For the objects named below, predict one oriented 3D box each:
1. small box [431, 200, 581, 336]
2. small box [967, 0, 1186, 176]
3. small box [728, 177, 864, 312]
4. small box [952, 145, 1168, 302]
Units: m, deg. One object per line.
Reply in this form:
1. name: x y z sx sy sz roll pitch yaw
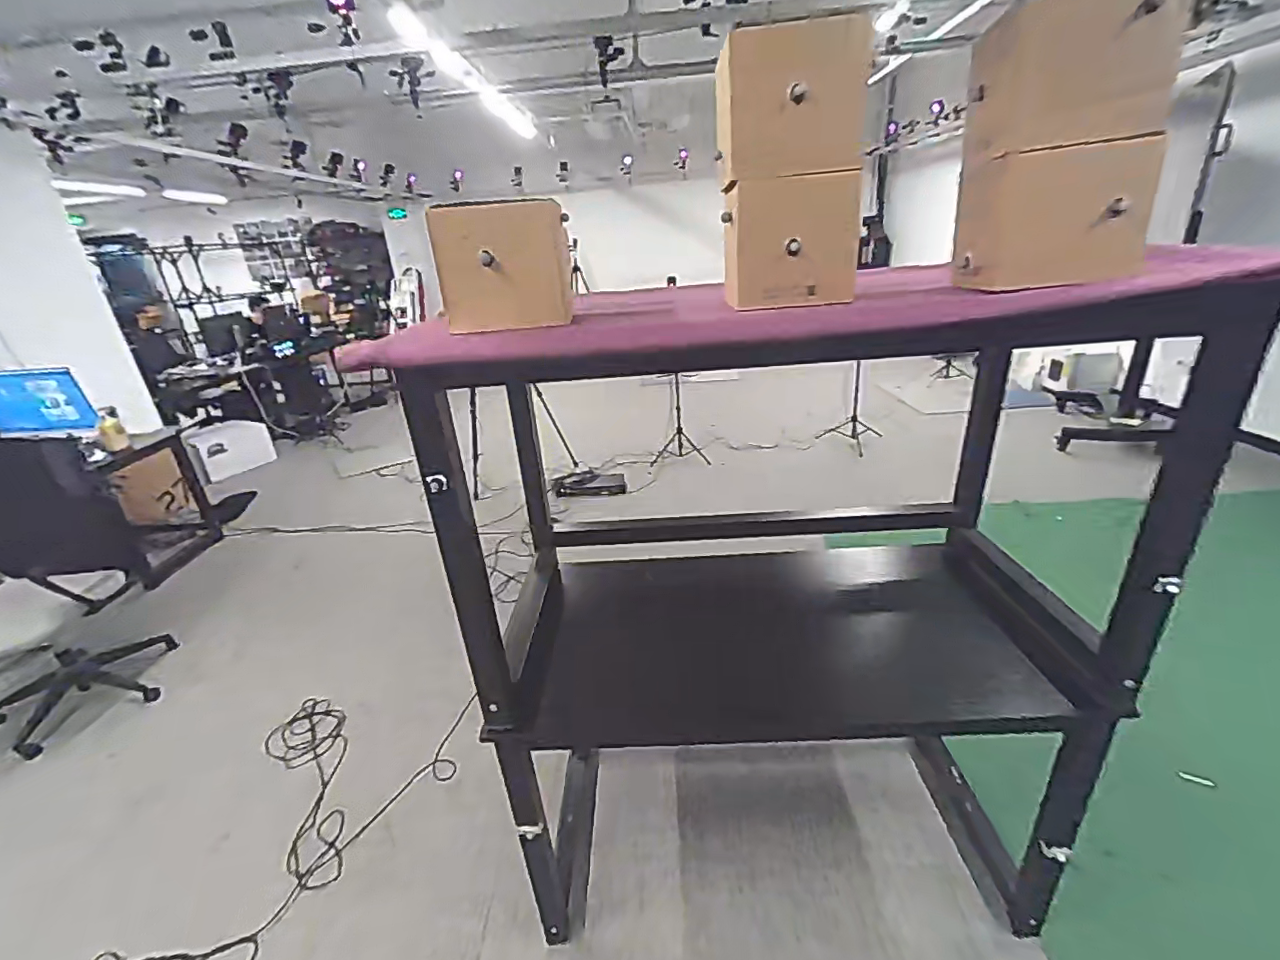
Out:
1. small box: -0.191 -0.320 0.823 0.179 0.176 0.168 -5 25 -2
2. small box: 0.554 -0.506 0.713 0.179 0.176 0.168 -1 21 11
3. small box: 0.225 -0.350 0.822 0.168 0.176 0.179 -2 23 4
4. small box: 0.570 -0.352 0.765 0.179 0.176 0.168 -3 20 9
